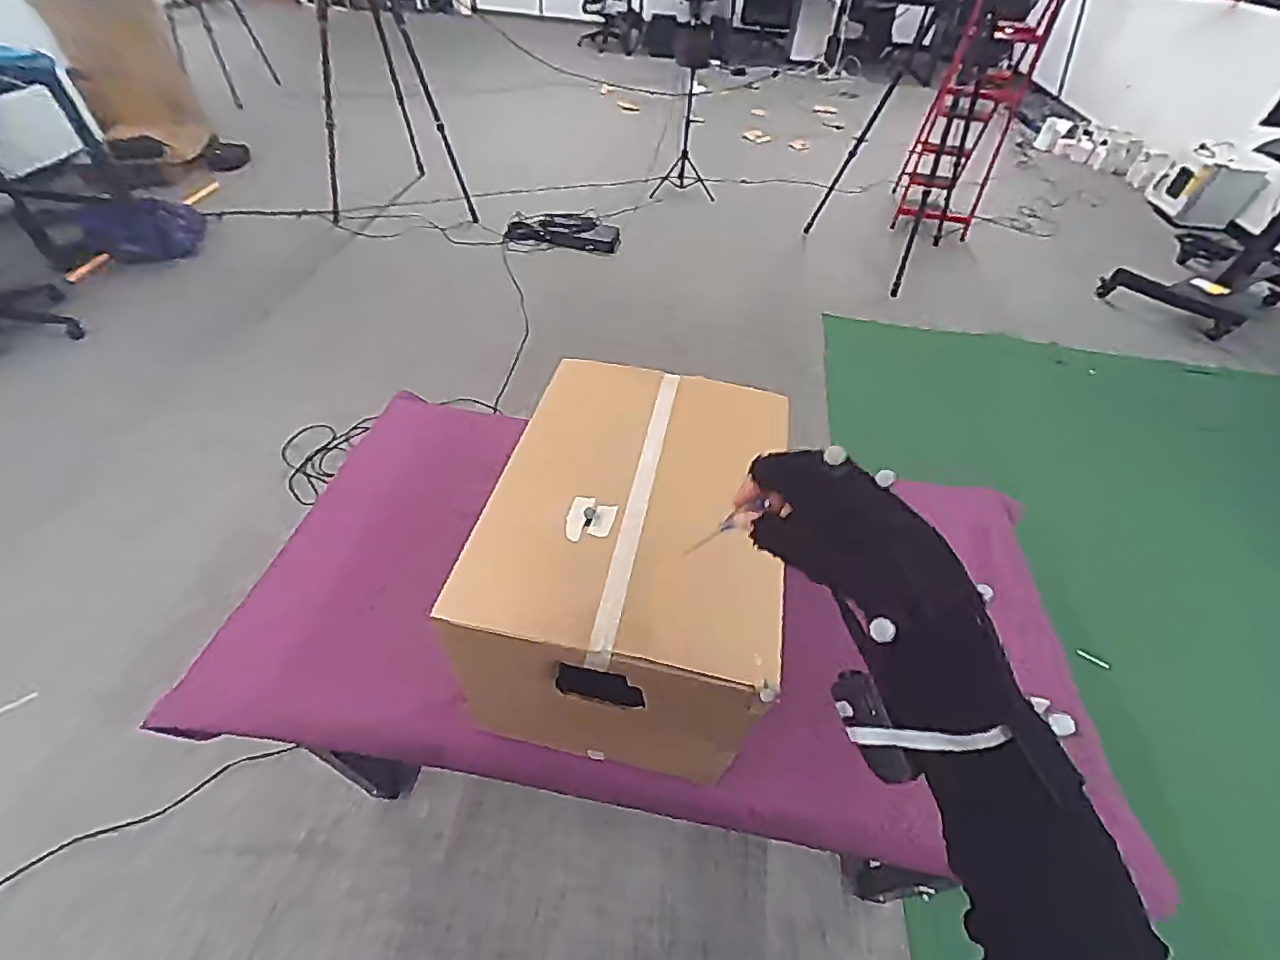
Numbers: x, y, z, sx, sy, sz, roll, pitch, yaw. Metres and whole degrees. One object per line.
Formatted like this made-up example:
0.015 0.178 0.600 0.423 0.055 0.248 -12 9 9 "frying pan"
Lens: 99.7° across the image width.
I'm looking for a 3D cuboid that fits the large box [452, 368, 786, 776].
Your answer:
-0.001 0.113 0.726 0.320 0.320 0.408 11 49 5 "large box"
